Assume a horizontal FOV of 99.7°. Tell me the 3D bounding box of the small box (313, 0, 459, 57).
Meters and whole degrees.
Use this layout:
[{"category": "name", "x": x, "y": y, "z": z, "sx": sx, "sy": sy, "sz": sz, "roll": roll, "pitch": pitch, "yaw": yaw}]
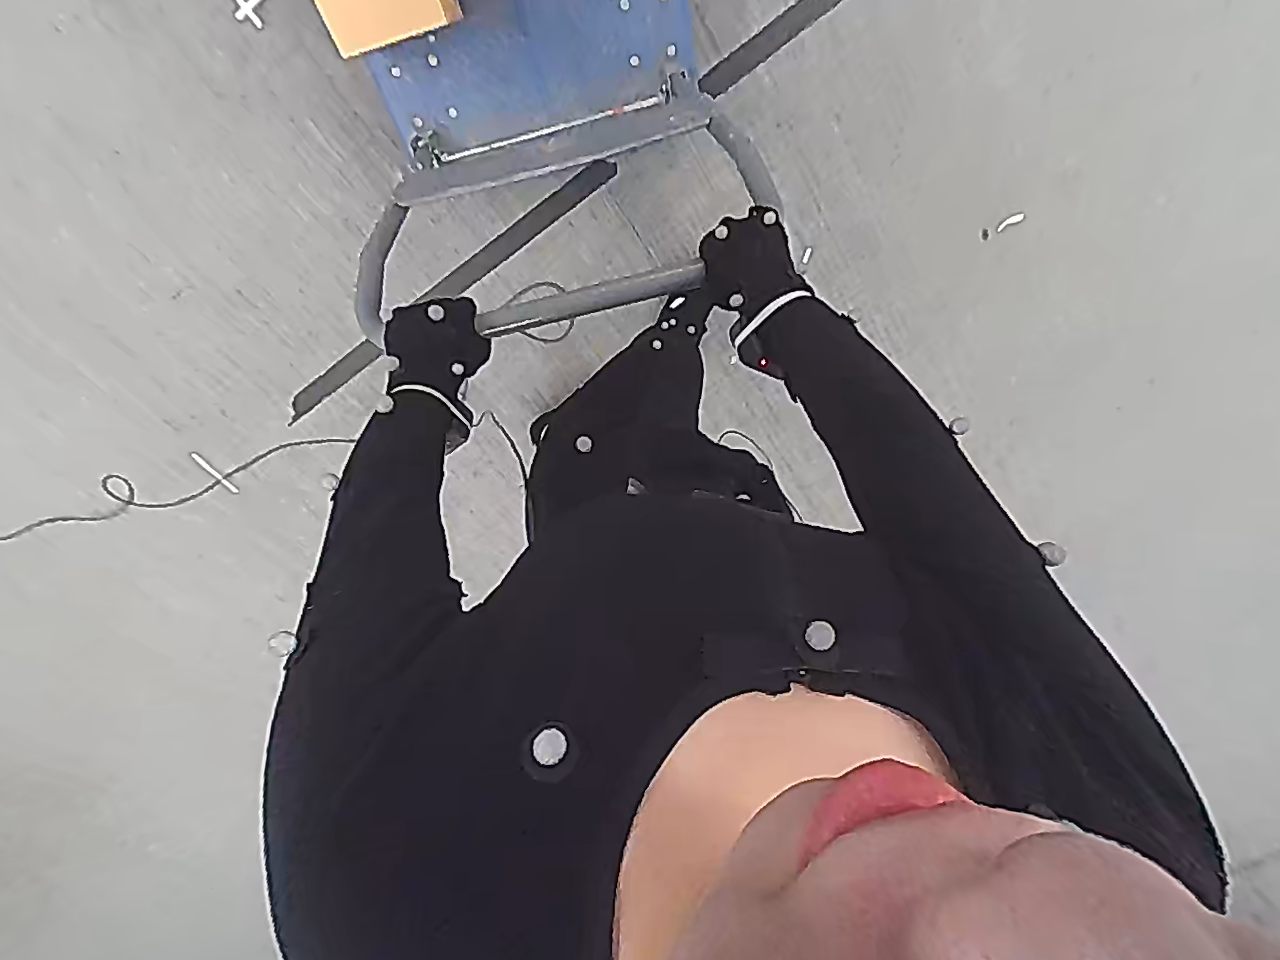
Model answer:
[{"category": "small box", "x": -0.397, "y": -0.770, "z": 0.818, "sx": 0.179, "sy": 0.176, "sz": 0.168, "roll": -16, "pitch": 132, "yaw": 4}]
